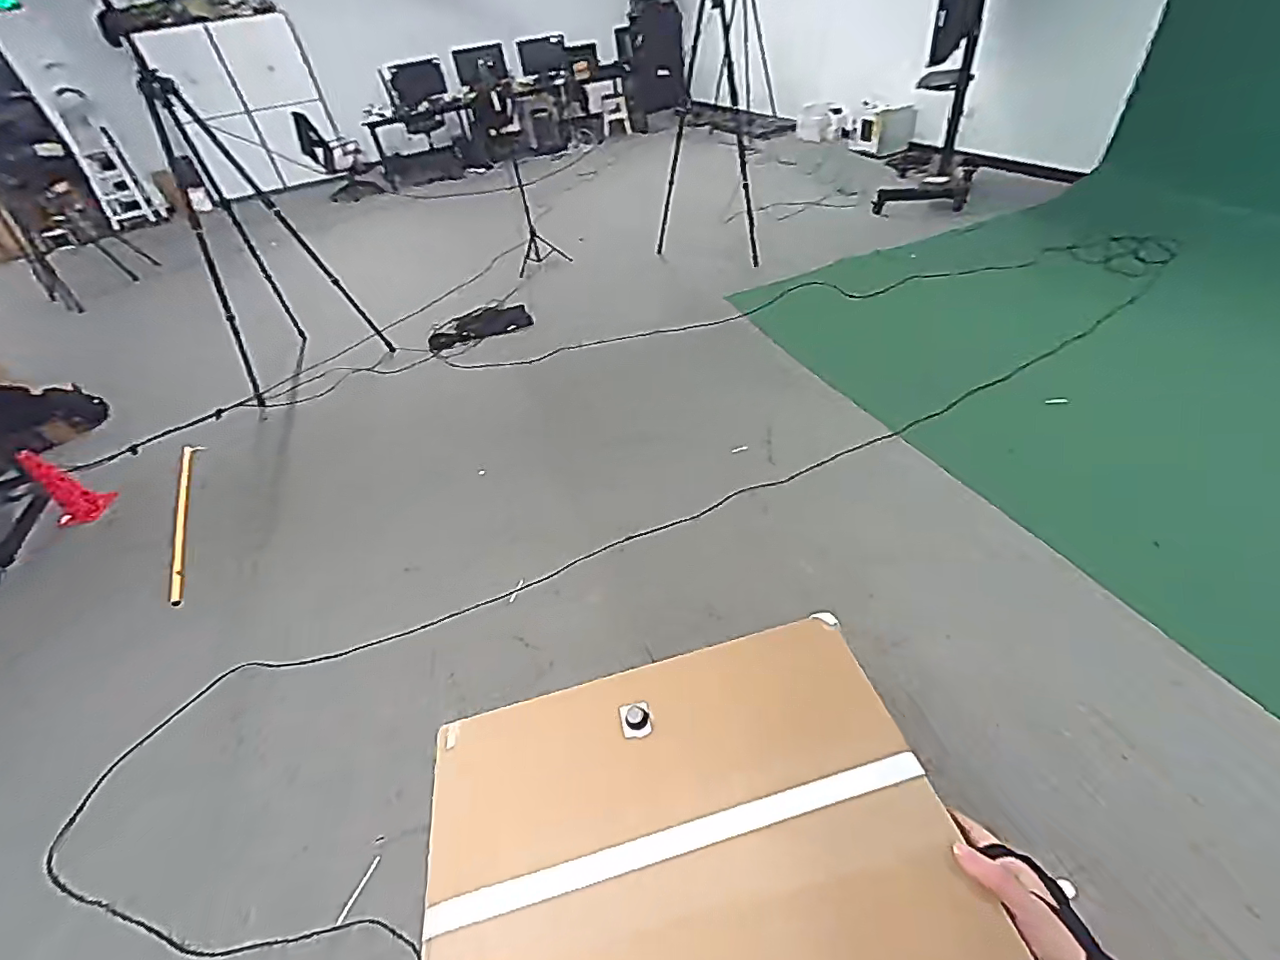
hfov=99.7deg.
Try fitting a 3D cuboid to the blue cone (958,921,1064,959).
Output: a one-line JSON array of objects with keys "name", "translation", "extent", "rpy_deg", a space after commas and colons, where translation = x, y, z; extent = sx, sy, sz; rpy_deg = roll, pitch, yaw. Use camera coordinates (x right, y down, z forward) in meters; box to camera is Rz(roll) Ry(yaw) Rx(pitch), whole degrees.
[{"name": "blue cone", "translation": [0.712, 0.856, 0.907], "extent": [0.192, 0.380, 0.193], "rpy_deg": [-22, 45, -13]}]
